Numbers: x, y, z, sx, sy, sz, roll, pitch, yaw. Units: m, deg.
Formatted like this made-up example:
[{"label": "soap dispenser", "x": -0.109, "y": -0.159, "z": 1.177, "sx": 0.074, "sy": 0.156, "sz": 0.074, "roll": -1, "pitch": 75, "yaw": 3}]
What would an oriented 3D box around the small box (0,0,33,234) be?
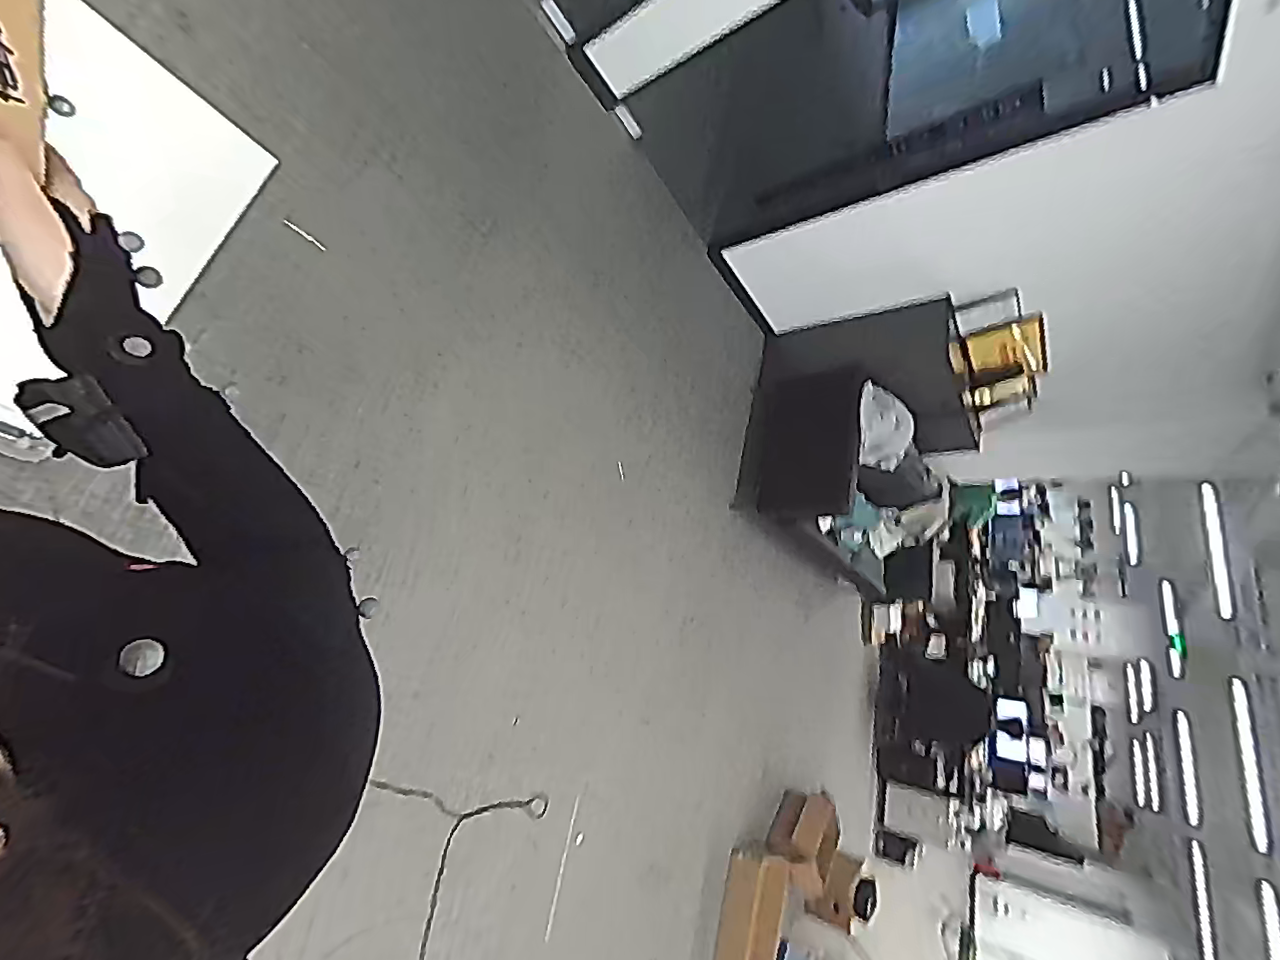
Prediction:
[{"label": "small box", "x": -0.481, "y": -0.262, "z": 0.307, "sx": 0.179, "sy": 0.176, "sz": 0.168, "roll": -1, "pitch": 93, "yaw": -51}]
